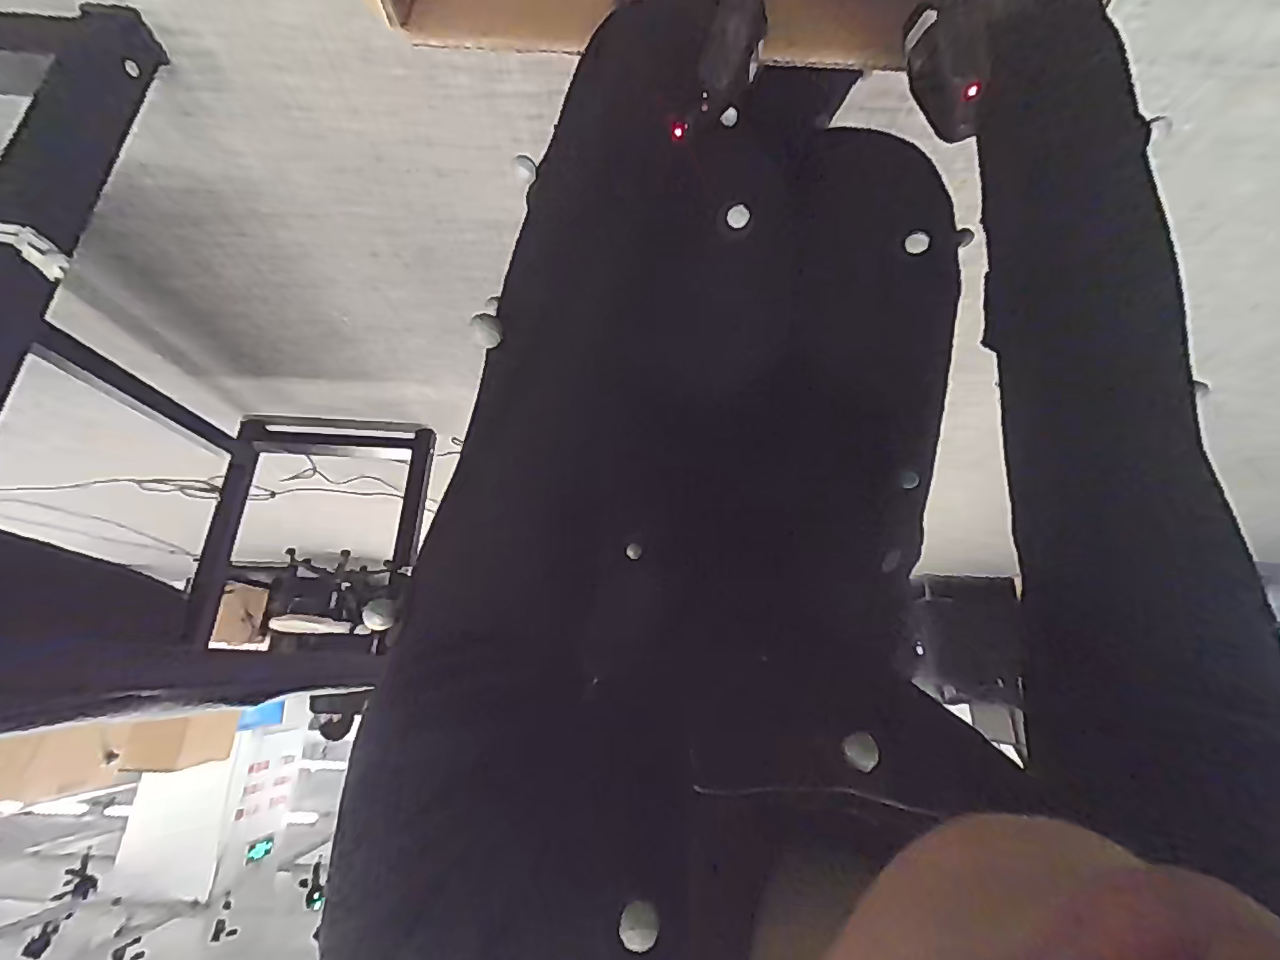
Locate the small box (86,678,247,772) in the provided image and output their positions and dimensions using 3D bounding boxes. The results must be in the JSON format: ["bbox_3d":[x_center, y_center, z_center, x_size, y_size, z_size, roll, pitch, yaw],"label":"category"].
[{"bbox_3d":[-0.991,0.514,1.152,0.179,0.176,0.168,2,161,-2],"label":"small box"}]
